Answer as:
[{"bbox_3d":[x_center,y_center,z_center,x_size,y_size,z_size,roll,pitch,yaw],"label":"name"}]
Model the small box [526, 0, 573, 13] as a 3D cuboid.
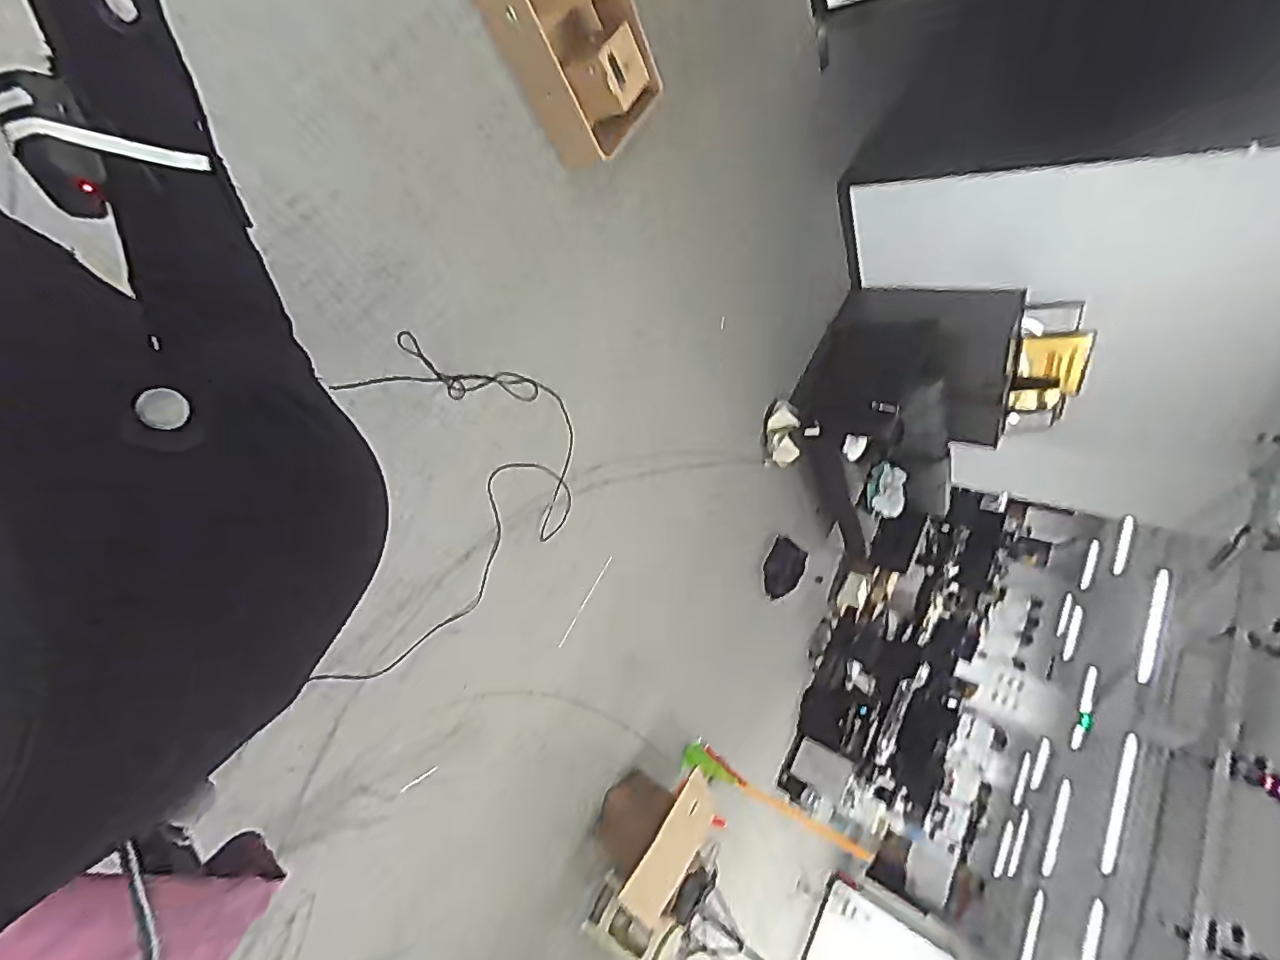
[{"bbox_3d":[-0.230,-1.411,1.454,0.179,0.176,0.168,-59,142,-19],"label":"small box"}]
